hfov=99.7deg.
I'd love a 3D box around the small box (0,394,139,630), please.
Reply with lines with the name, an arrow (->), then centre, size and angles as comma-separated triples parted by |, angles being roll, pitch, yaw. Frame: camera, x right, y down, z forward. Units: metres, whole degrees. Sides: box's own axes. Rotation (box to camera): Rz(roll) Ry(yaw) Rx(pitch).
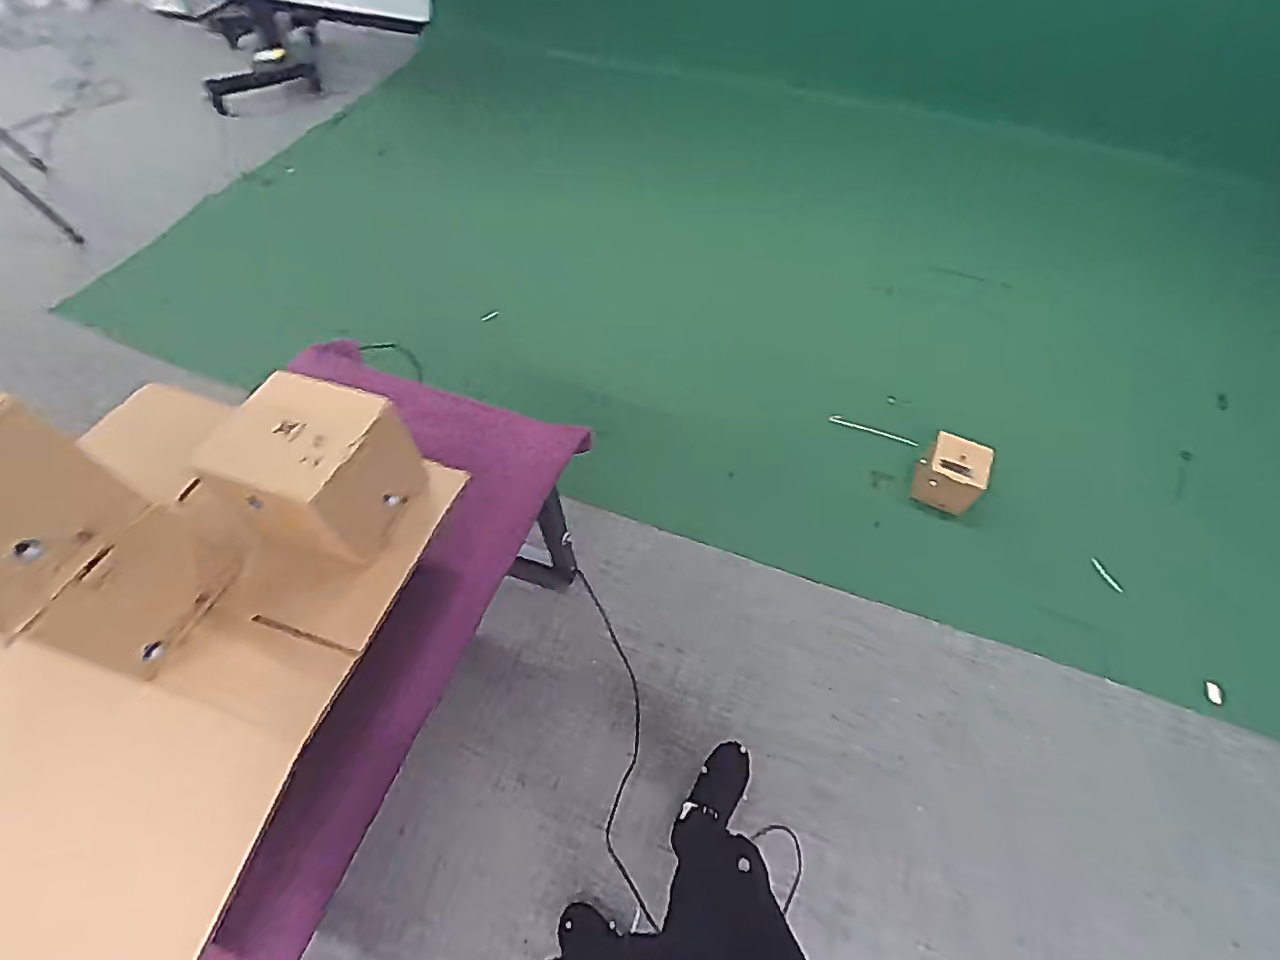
small box -> -0.644, 0.019, 0.496 | 0.179, 0.176, 0.168 | 14, 55, 7

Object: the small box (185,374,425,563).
small box -> -0.424, -0.010, 0.720 | 0.179, 0.176, 0.168 | 16, 57, 9

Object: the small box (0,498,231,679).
small box -> -0.640, 0.114, 0.628 | 0.179, 0.176, 0.168 | 14, 55, 9
